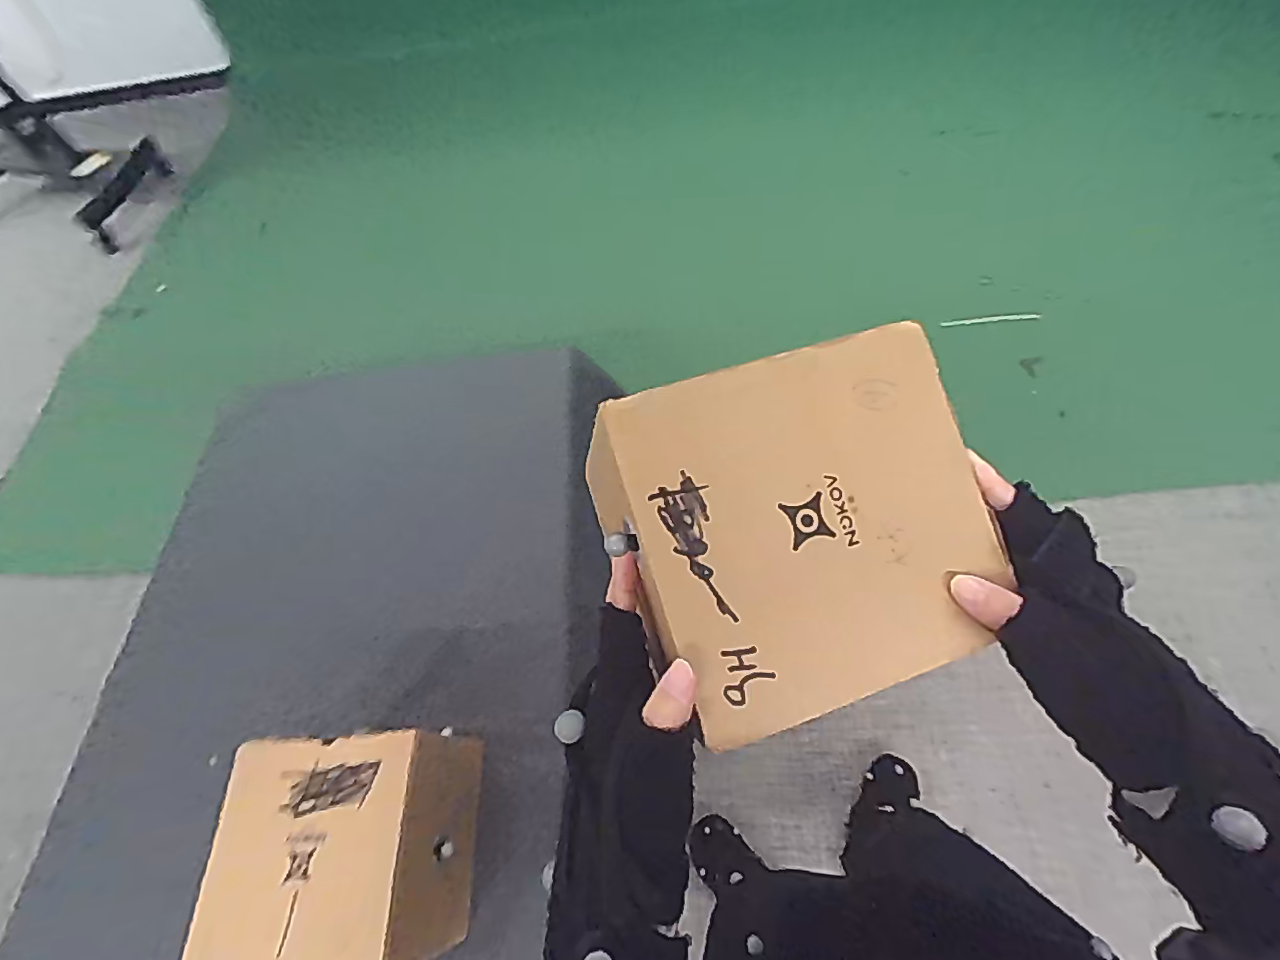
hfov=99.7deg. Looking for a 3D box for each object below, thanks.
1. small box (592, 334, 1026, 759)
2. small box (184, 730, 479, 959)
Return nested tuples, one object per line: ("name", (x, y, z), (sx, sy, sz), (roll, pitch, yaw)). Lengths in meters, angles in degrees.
("small box", (0.078, 0.034, 0.341), (0.179, 0.176, 0.168), (-18, 85, -10))
("small box", (-0.265, 0.346, 0.514), (0.168, 0.176, 0.179), (-6, 61, 4))
